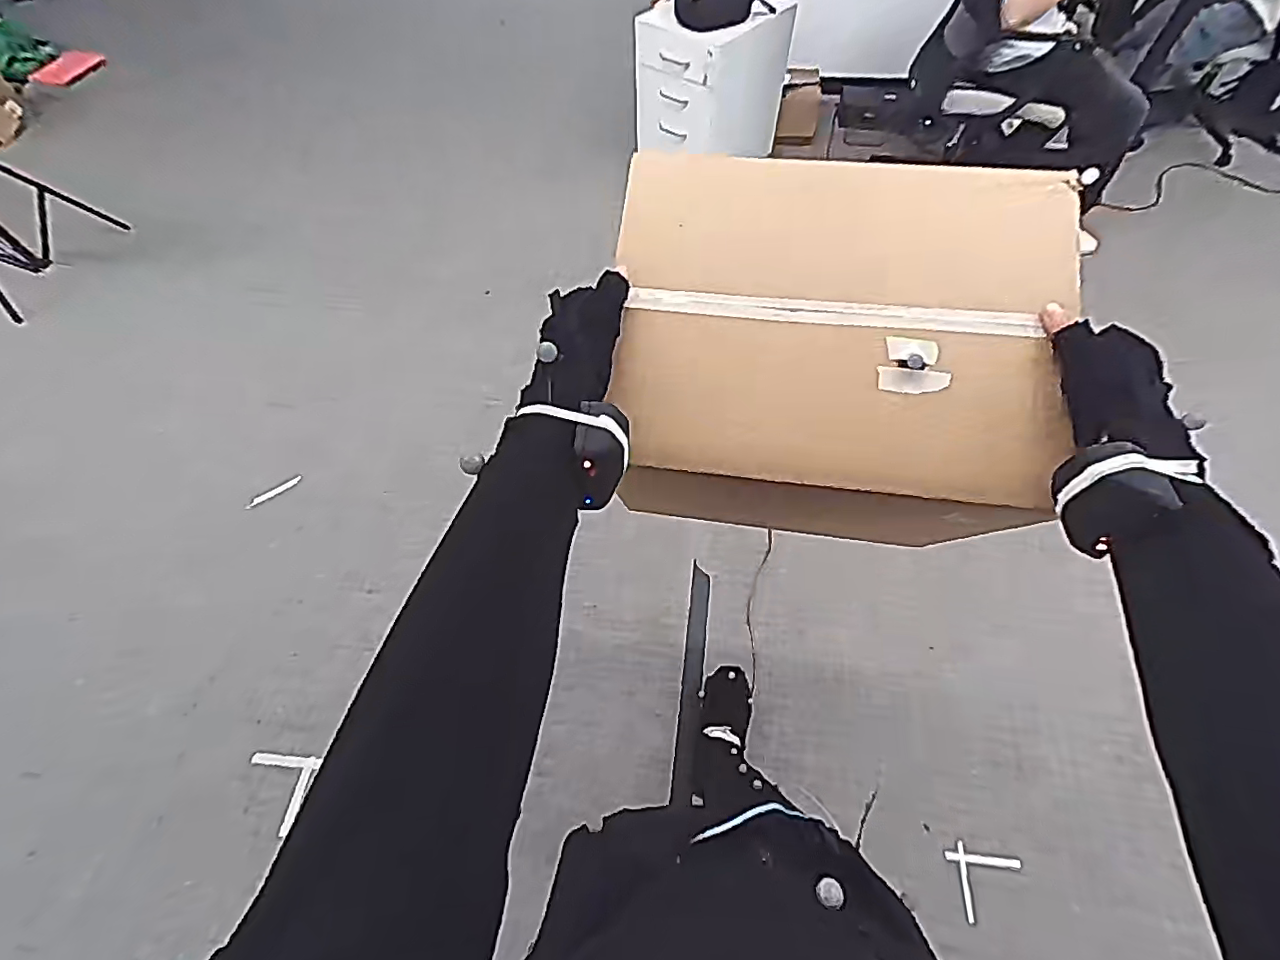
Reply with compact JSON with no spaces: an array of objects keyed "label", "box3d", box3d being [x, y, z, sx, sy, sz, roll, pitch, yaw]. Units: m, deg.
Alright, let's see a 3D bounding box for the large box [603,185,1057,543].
[{"label":"large box","box3d":[0.187,-0.108,0.653,0.408,0.320,0.320,6,80,6]}]
